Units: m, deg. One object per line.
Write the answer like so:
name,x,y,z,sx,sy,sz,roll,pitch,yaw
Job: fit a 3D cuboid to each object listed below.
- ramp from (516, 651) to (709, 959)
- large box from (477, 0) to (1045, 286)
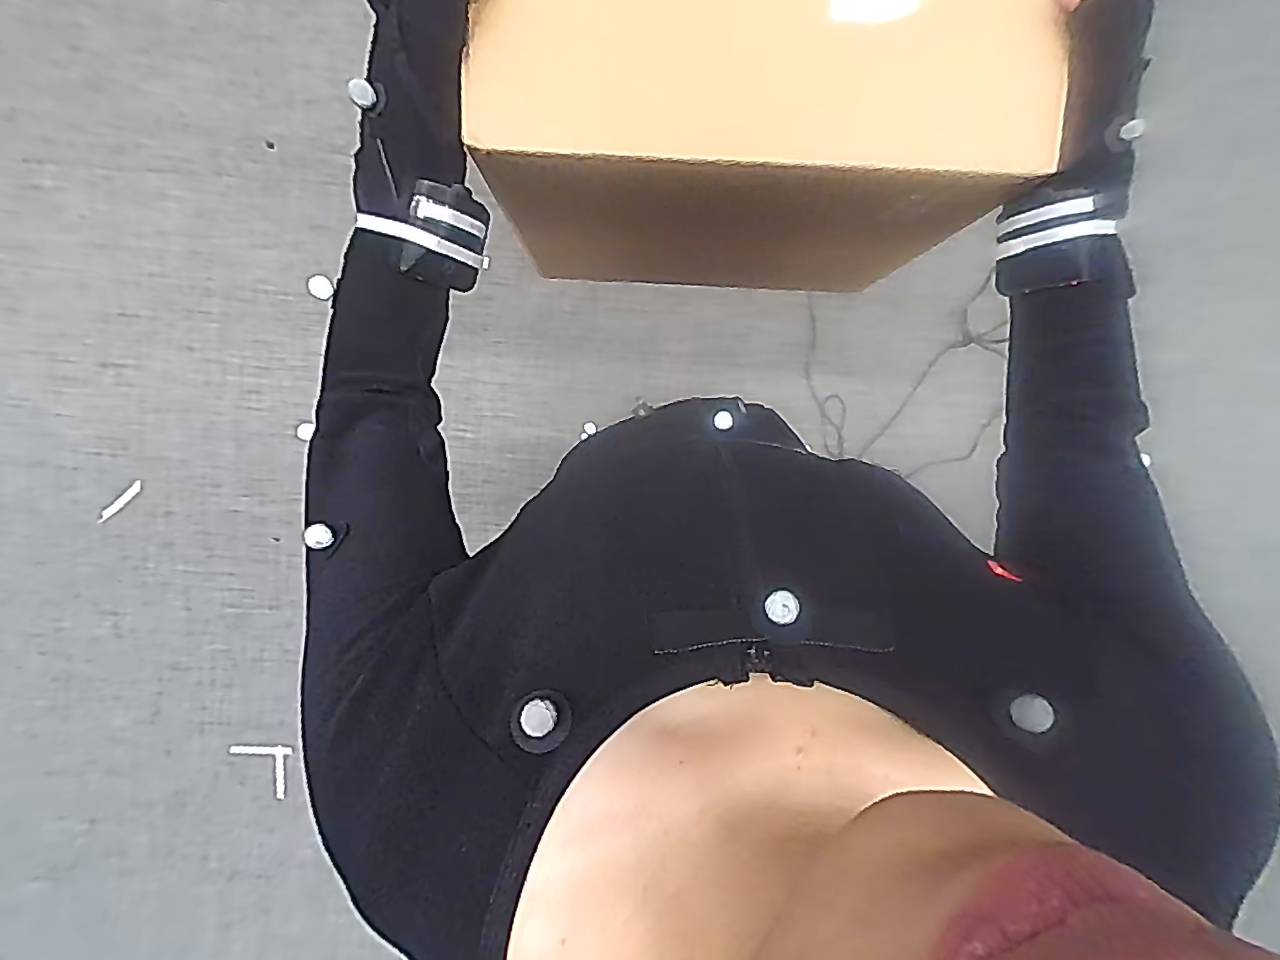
ramp,-0.074,0.989,1.487,0.509,0.206,0.991,2,95,1
large box,0.081,-0.387,0.520,0.408,0.320,0.320,2,95,-2
